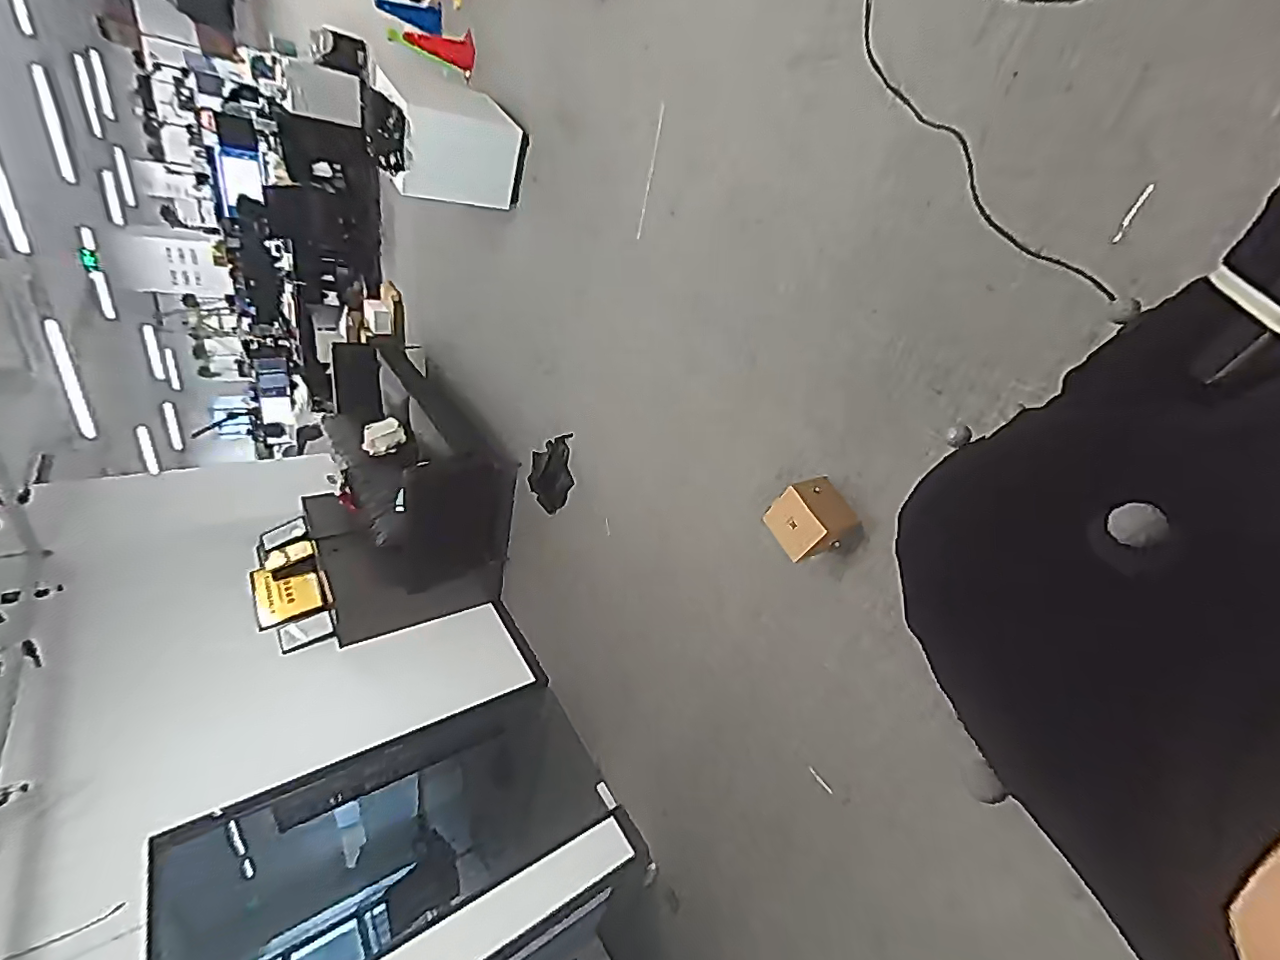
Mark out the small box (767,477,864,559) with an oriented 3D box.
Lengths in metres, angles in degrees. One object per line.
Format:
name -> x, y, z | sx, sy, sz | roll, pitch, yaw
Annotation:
small box -> 0.521, 0.107, 1.610 | 0.179, 0.176, 0.168 | 57, 140, 27
